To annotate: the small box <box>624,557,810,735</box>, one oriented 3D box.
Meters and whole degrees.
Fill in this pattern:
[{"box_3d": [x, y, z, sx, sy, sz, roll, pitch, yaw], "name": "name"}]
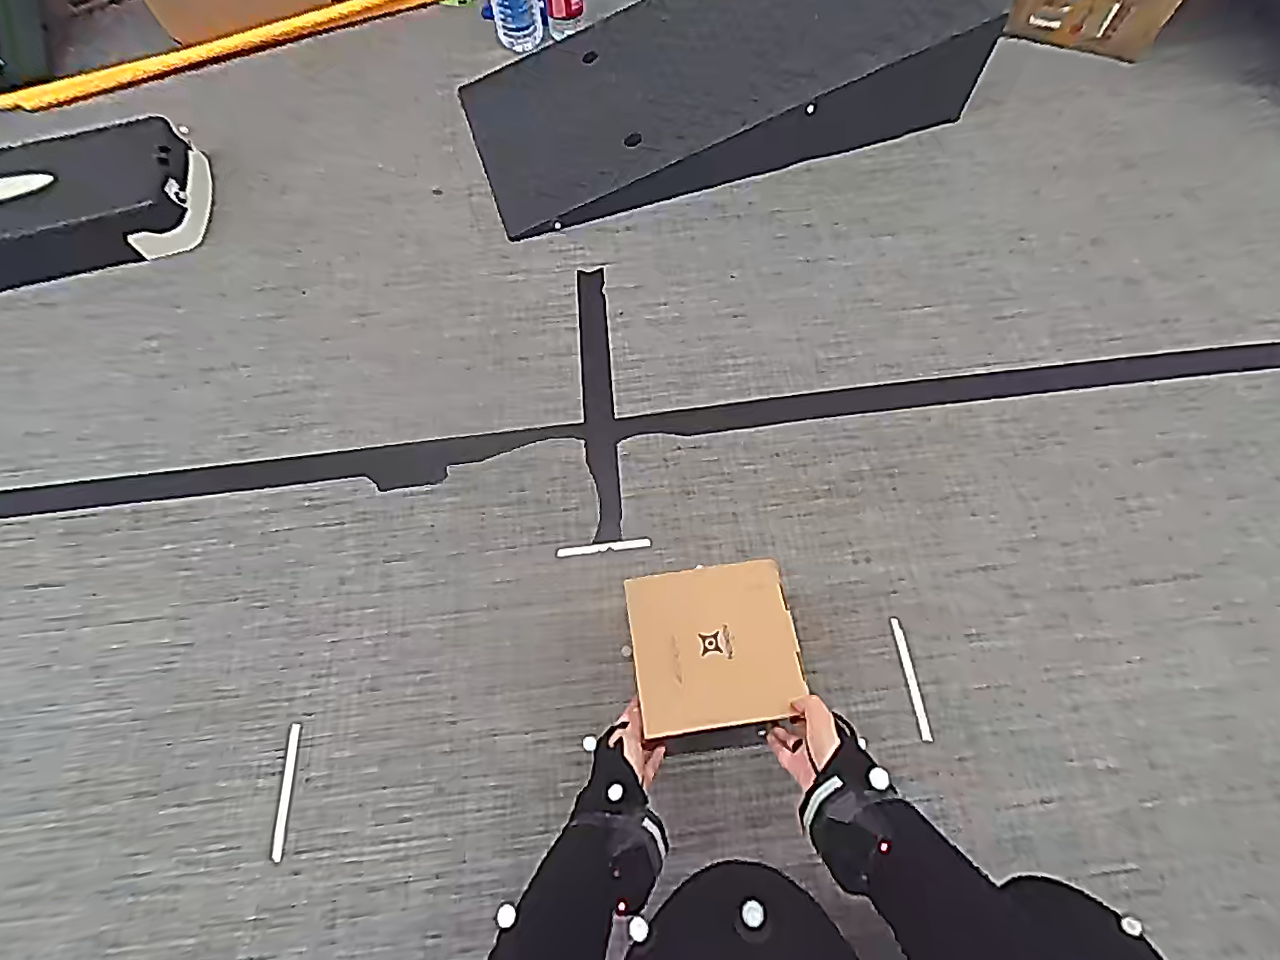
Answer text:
[{"box_3d": [0.078, 0.200, 0.641, 0.179, 0.176, 0.168, -7, 66, -1], "name": "small box"}]
